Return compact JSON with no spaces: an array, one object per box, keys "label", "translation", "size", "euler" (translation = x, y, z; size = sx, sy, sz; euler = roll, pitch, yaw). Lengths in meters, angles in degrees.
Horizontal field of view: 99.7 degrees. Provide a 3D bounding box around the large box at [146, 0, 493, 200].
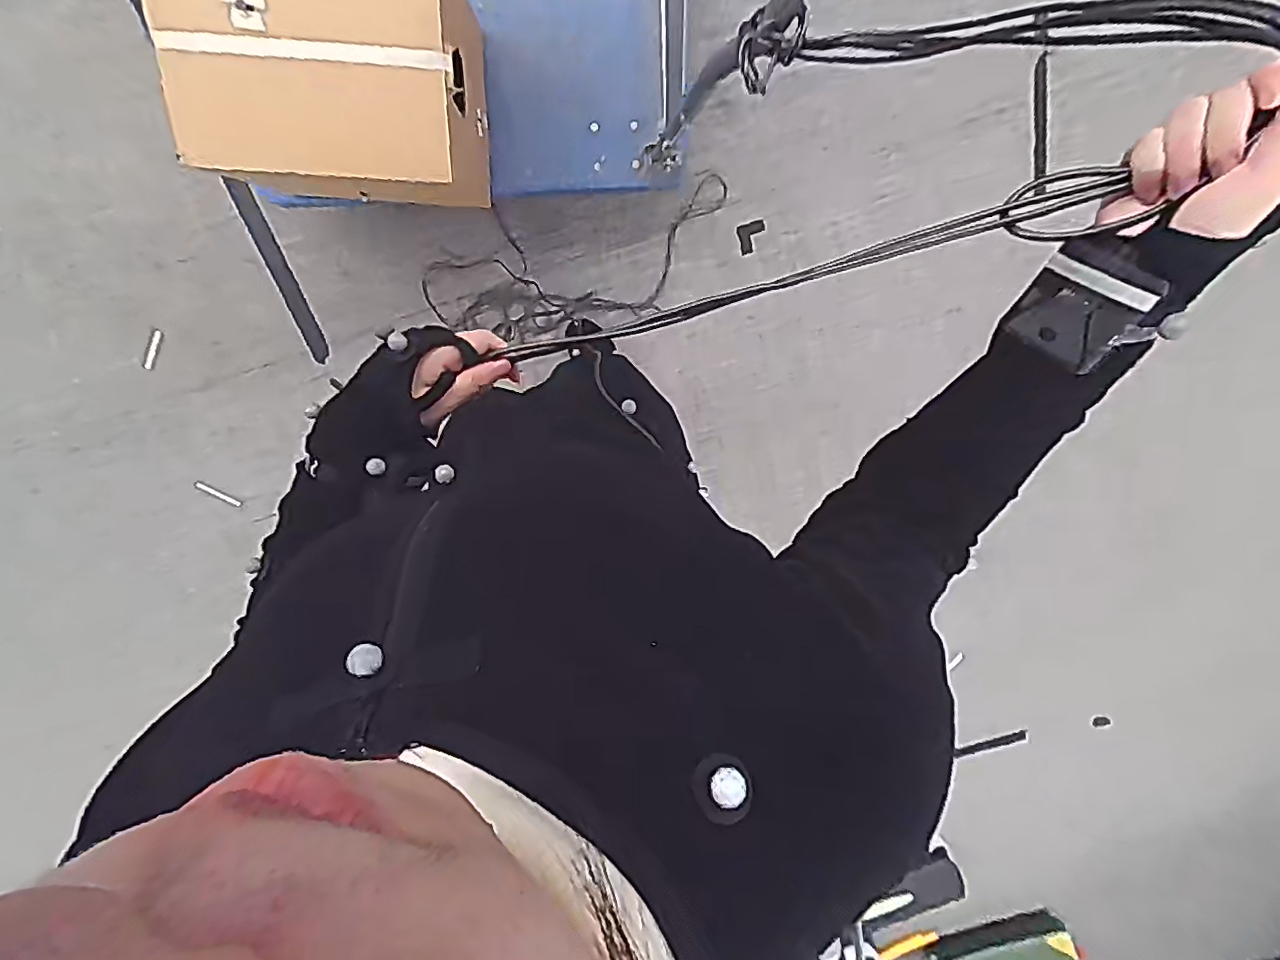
[{"label":"large box","translation":[-0.486,-0.662,0.908],"size":[0.408,0.320,0.320],"euler":[1,110,-4]}]
